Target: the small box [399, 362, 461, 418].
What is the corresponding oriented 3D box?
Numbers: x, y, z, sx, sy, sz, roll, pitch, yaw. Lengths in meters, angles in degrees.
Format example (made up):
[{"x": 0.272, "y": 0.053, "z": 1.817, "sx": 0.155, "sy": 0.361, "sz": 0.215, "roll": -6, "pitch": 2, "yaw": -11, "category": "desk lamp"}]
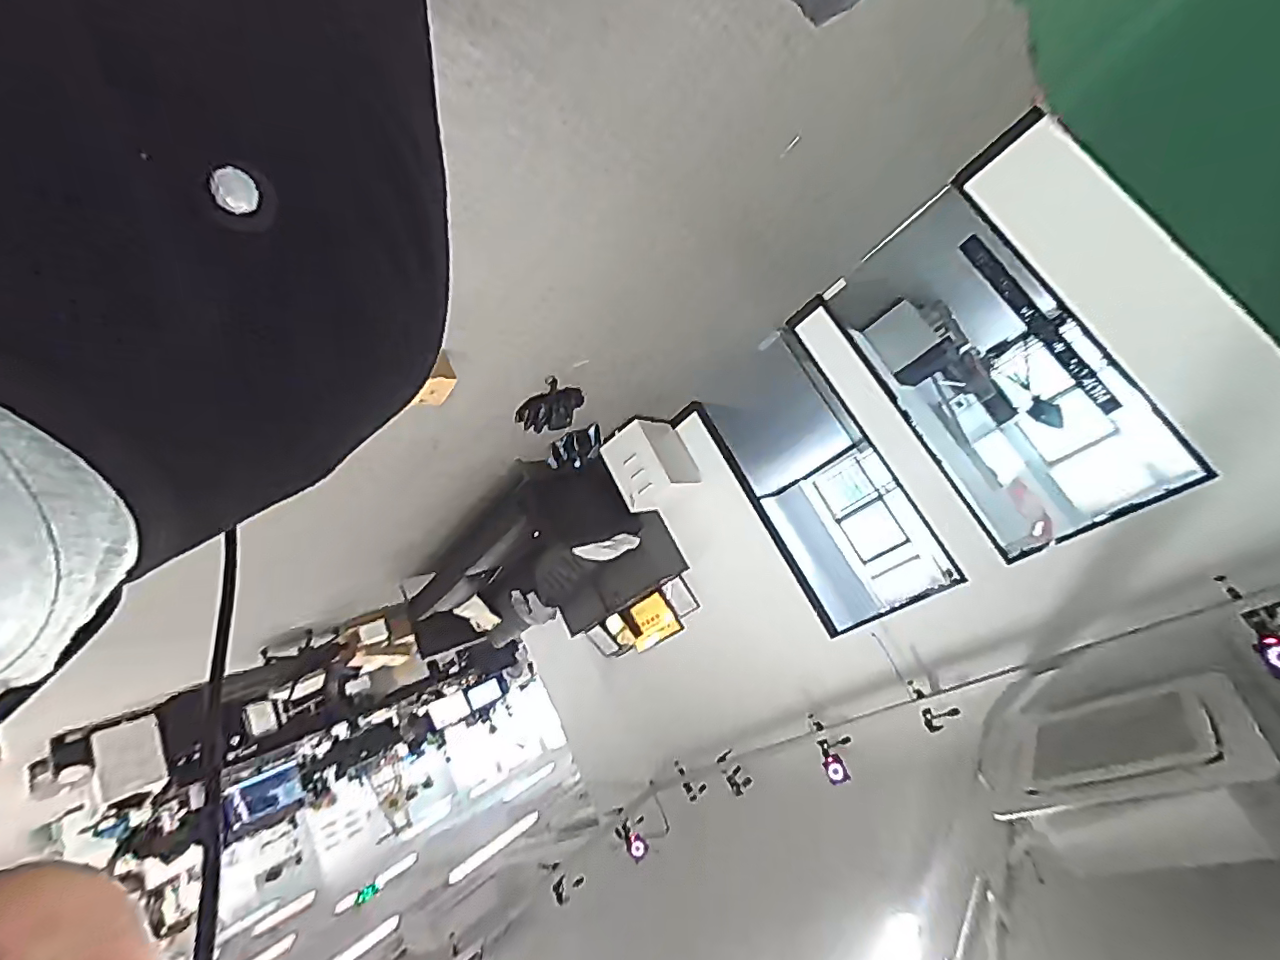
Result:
[{"x": -0.902, "y": -0.383, "z": 2.304, "sx": 0.168, "sy": 0.176, "sz": 0.179, "roll": -9, "pitch": 154, "yaw": -50, "category": "small box"}]
